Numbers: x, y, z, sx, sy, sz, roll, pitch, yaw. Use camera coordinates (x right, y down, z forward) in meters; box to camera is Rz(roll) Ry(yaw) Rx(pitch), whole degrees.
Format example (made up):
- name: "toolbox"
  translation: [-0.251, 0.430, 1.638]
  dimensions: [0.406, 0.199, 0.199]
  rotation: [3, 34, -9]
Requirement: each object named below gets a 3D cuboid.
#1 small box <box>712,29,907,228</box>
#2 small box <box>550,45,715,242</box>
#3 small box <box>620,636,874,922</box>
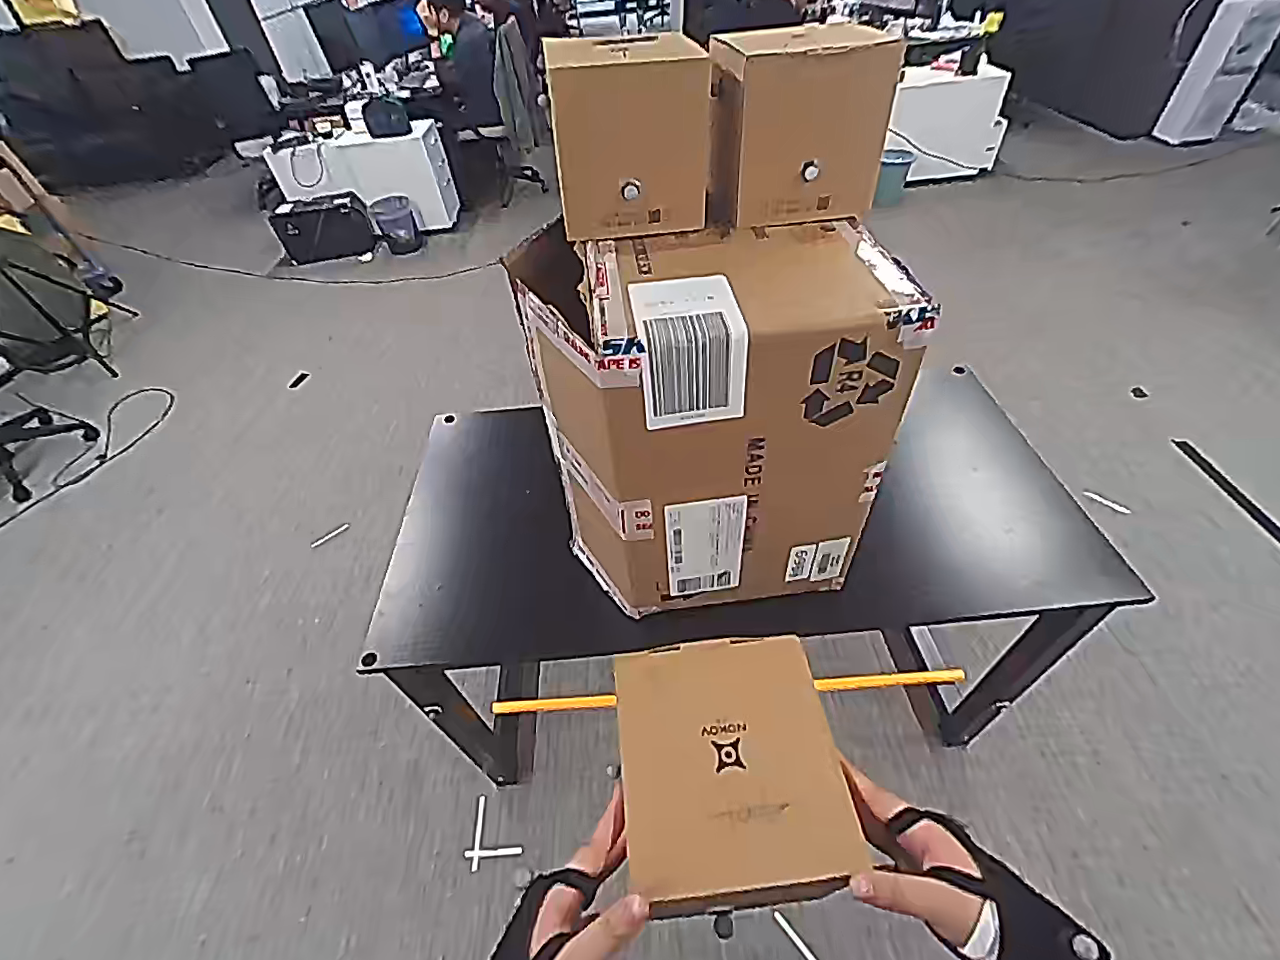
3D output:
- name: "small box"
  translation: [0.183, -0.423, 0.653]
  dimensions: [0.168, 0.176, 0.179]
  rotation: [-7, 45, -2]
- name: "small box"
  translation: [-0.015, -0.402, 0.646]
  dimensions: [0.168, 0.176, 0.179]
  rotation: [-7, 45, -5]
- name: "small box"
  translation: [0.071, 0.261, 0.474]
  dimensions: [0.168, 0.176, 0.179]
  rotation: [-6, 48, -3]
